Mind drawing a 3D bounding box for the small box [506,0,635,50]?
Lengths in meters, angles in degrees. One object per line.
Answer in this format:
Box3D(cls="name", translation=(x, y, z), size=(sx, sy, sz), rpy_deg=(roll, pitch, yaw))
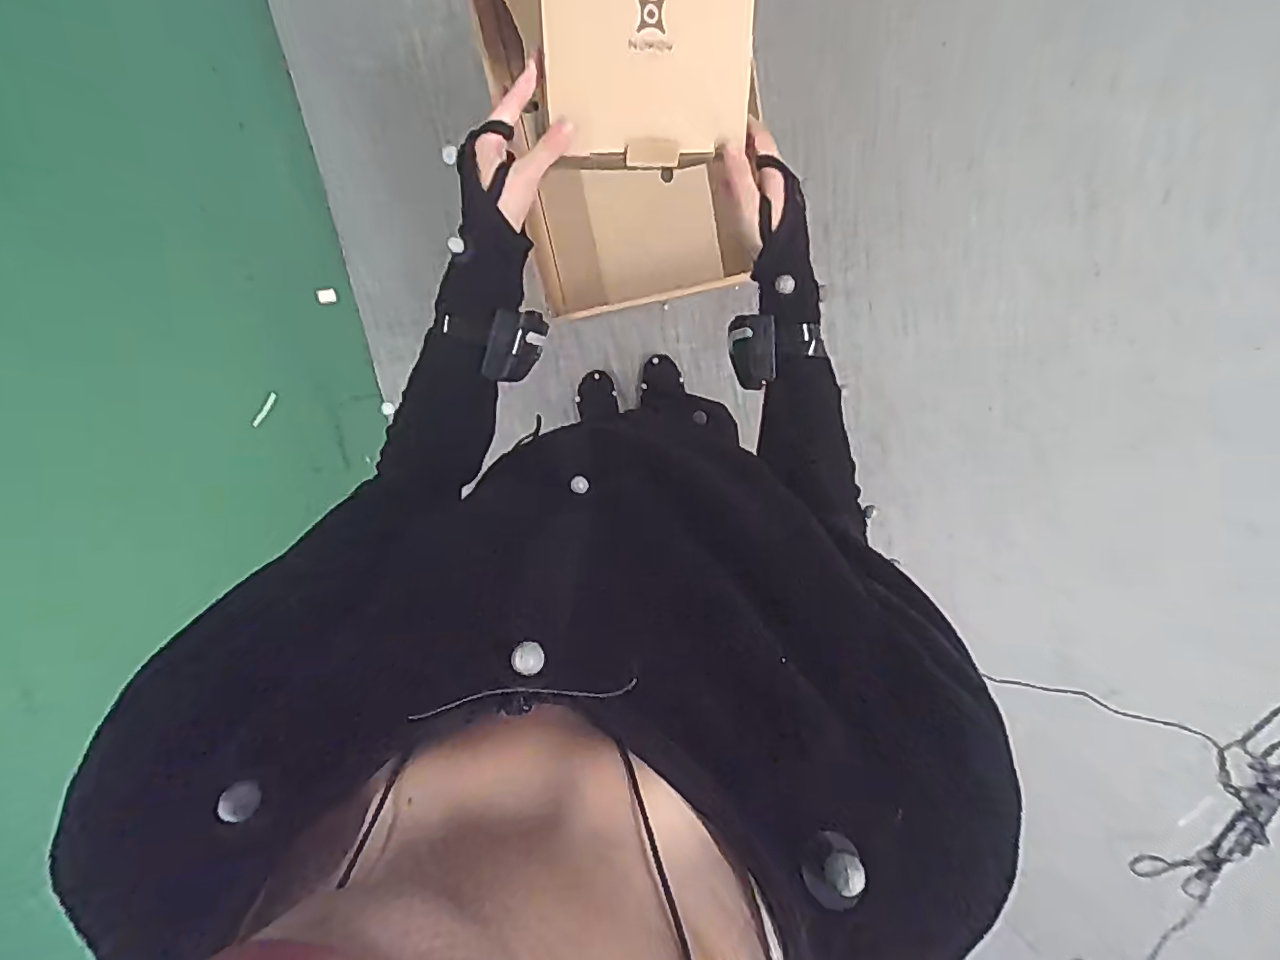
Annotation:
Box3D(cls="small box", translation=(-0.103, -0.699, 0.683), size=(0.179, 0.176, 0.168), rpy_deg=(-15, 103, 7))
